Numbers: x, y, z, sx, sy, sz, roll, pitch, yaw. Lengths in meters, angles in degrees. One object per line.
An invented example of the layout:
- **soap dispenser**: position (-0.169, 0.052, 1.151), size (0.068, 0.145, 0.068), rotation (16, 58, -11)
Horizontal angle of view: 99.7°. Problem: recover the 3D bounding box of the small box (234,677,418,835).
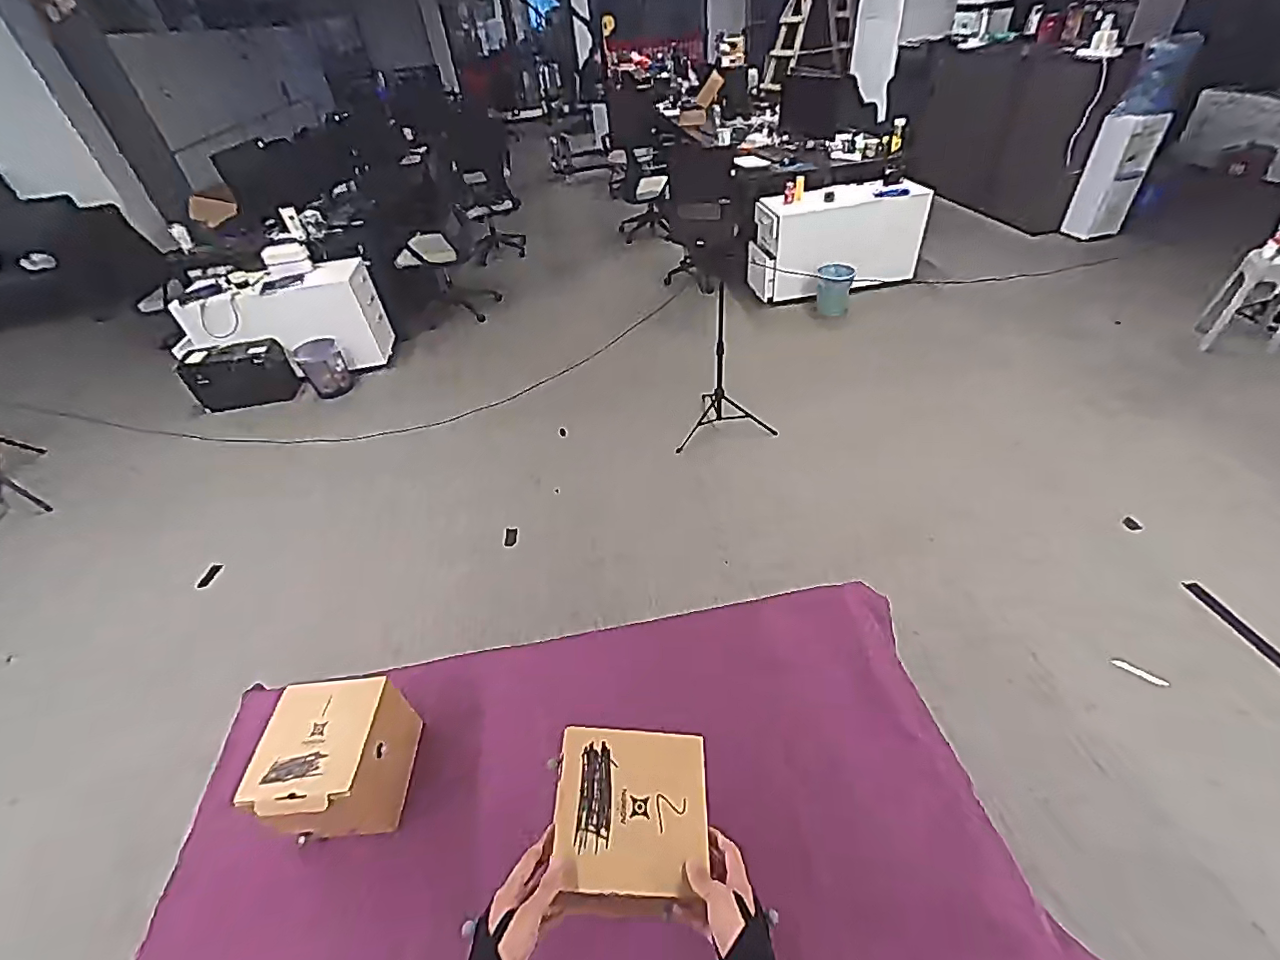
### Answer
- **small box**: position (-0.471, 0.437, 0.850), size (0.168, 0.176, 0.179), rotation (-6, 41, 1)
